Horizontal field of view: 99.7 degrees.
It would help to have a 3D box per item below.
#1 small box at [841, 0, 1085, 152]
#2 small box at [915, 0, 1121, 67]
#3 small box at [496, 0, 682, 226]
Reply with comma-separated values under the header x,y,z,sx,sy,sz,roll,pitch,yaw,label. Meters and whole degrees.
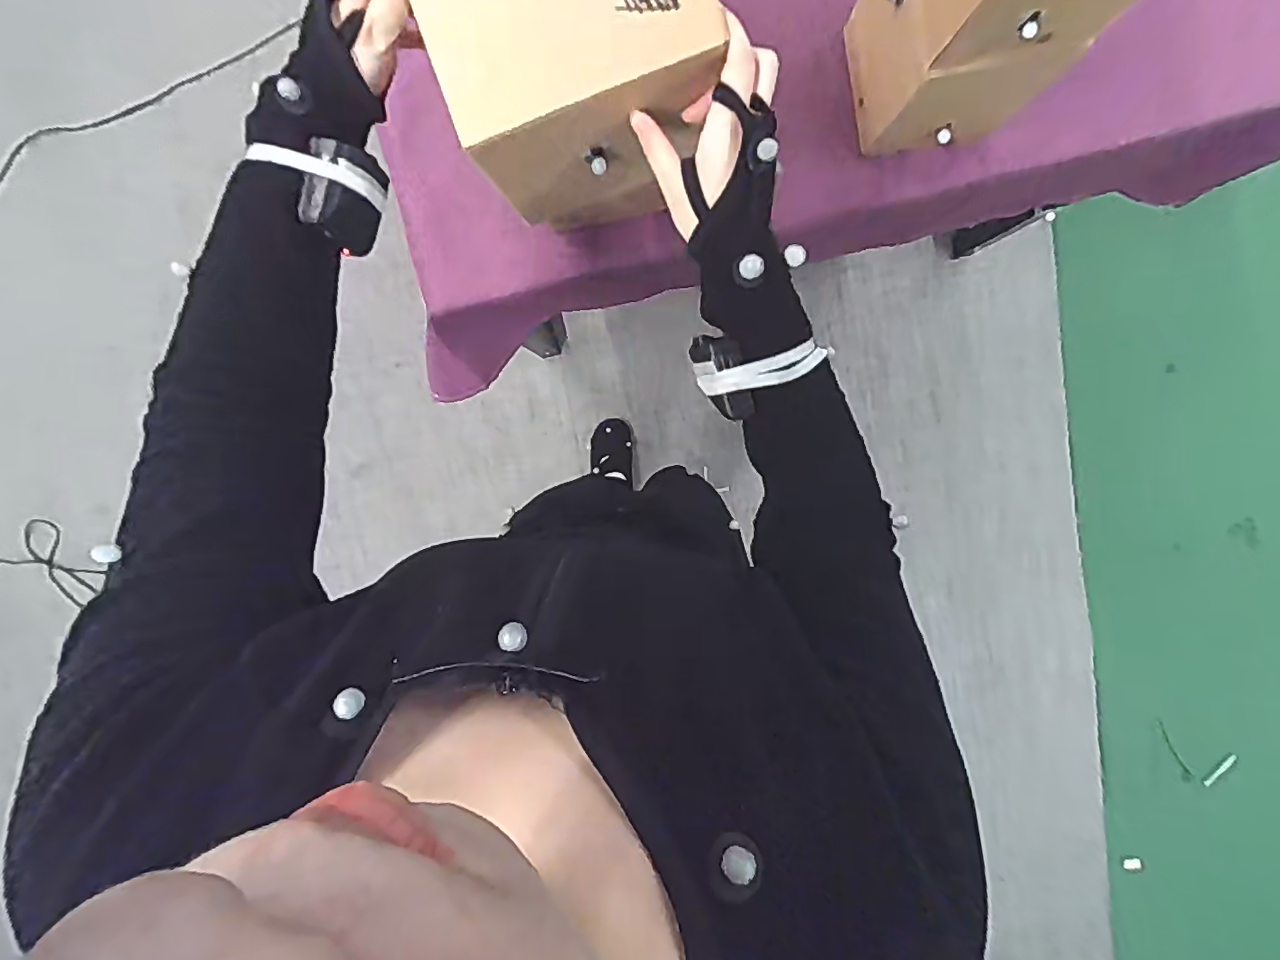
x,y,z,sx,sy,sz,roll,pitch,yaw,label
0.359,-0.518,0.628,0.179,0.176,0.168,-11,96,1,small box
0.353,-0.510,0.464,0.168,0.176,0.179,-10,97,2,small box
-0.051,-0.423,0.643,0.179,0.176,0.168,-10,97,1,small box
